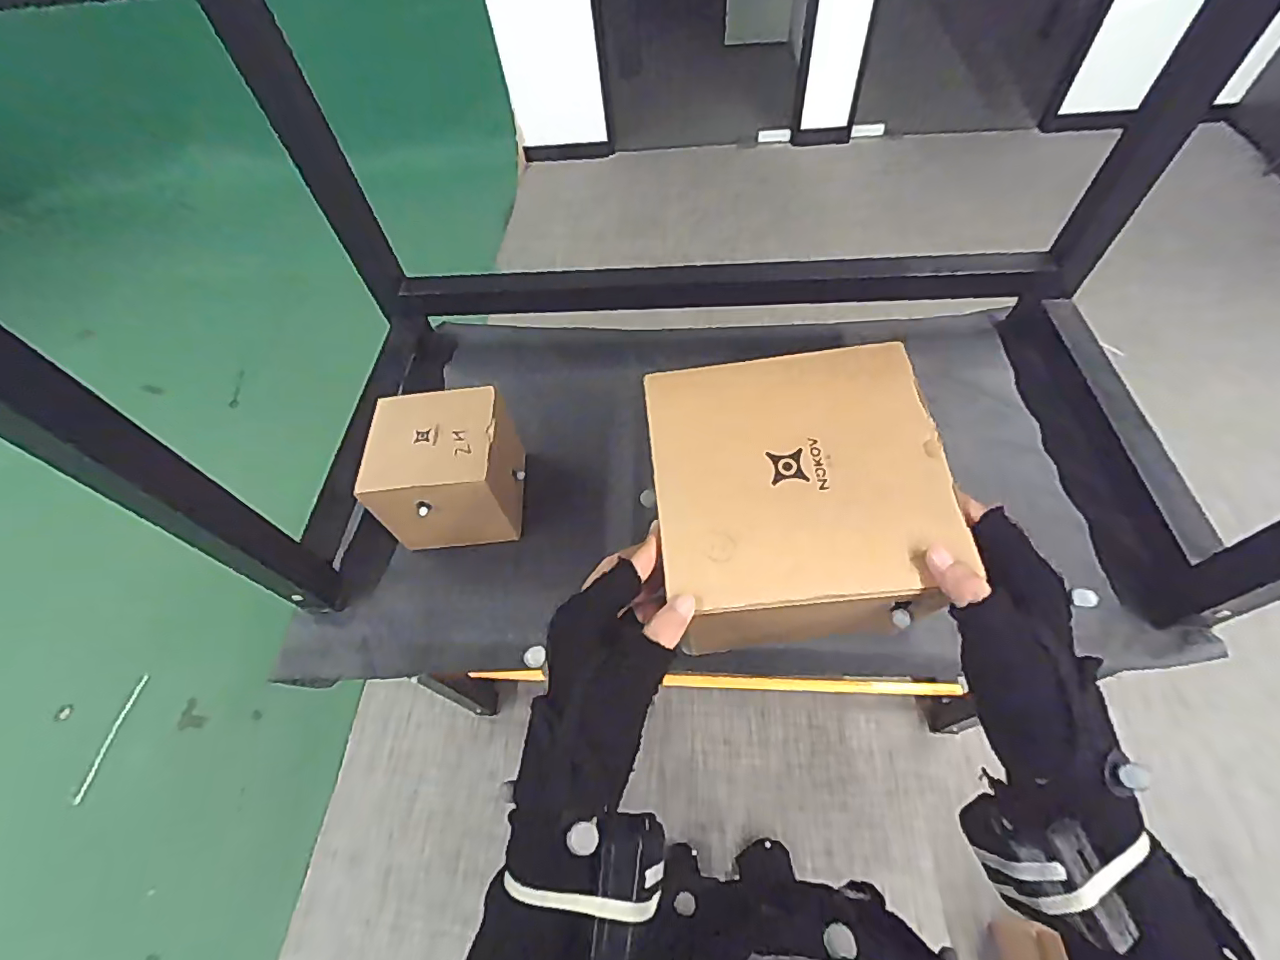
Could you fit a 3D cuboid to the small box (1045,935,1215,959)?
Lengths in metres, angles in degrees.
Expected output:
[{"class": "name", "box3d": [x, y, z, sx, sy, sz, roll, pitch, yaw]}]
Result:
[{"class": "small box", "box3d": [0.772, 0.820, 0.822, 0.168, 0.176, 0.179, -2, 55, 4]}]

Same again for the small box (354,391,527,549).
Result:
[{"class": "small box", "box3d": [-0.278, -0.008, 0.798, 0.179, 0.176, 0.168, -5, 57, 2]}]
